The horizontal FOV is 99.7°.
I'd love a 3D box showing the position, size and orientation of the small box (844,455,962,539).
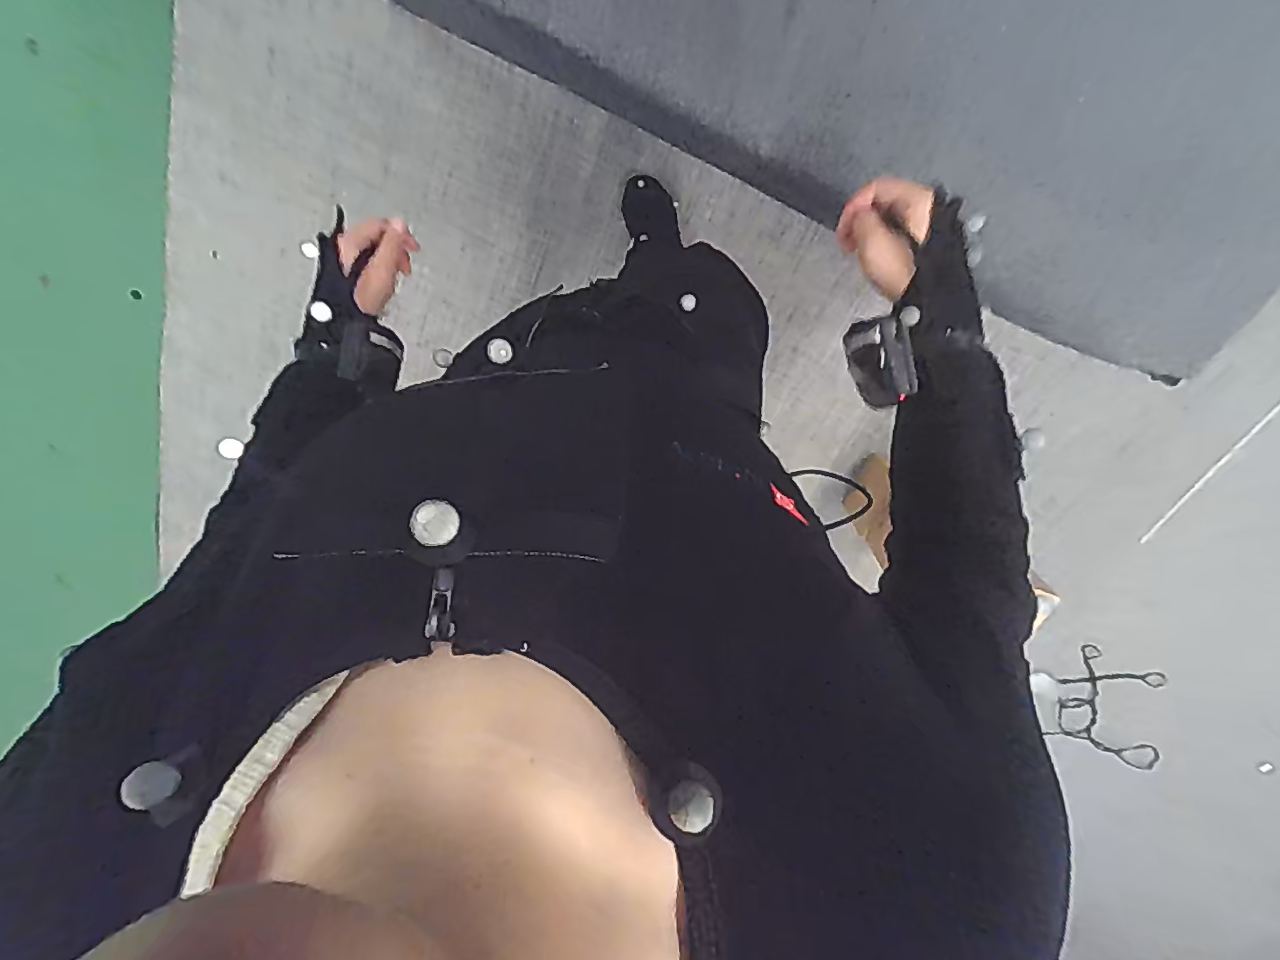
[{"bbox_3d":[0.638,0.058,1.337,0.179,0.176,0.168,19,115,-5],"label":"small box"}]
